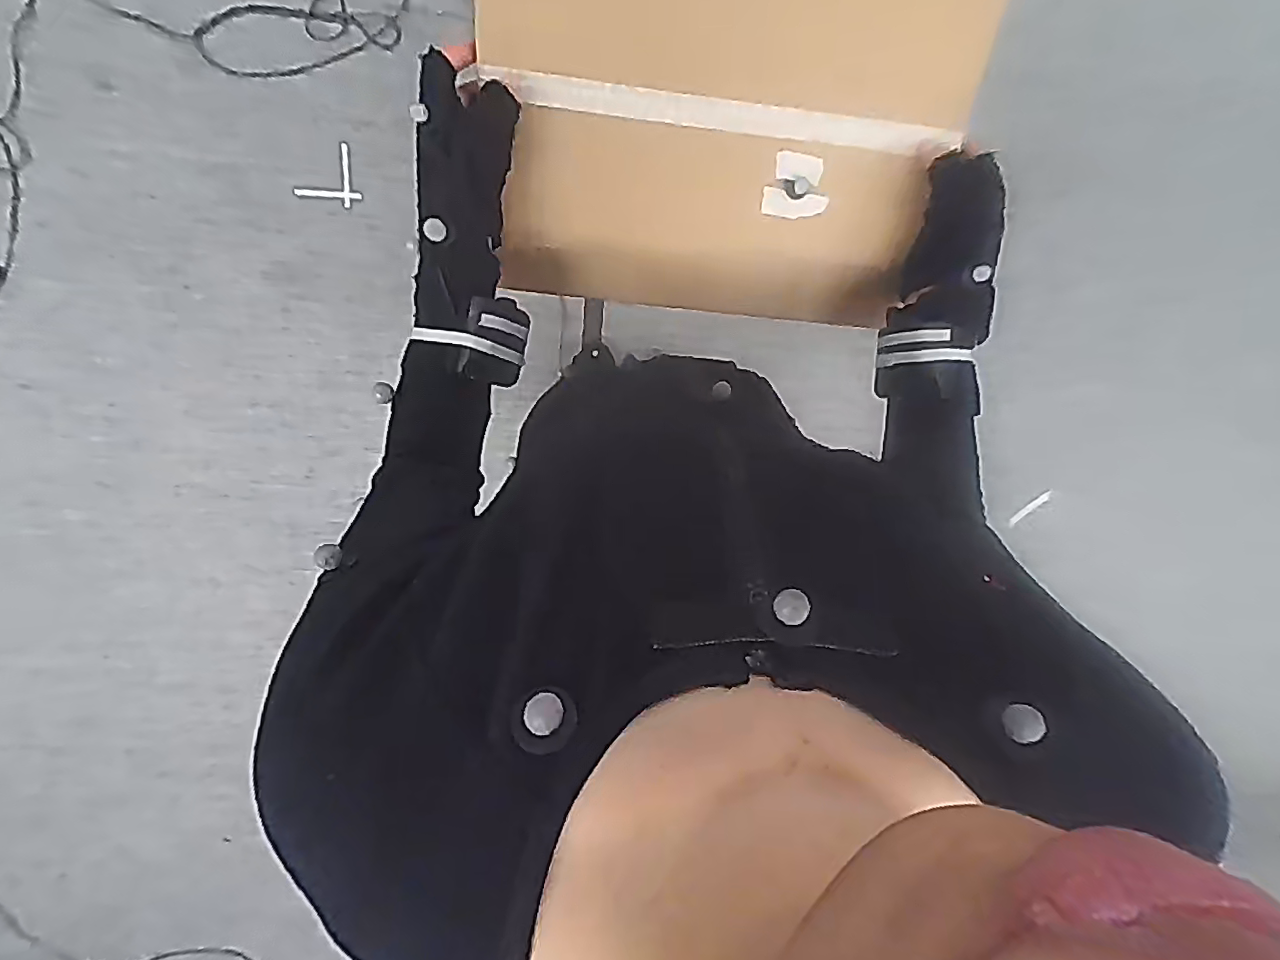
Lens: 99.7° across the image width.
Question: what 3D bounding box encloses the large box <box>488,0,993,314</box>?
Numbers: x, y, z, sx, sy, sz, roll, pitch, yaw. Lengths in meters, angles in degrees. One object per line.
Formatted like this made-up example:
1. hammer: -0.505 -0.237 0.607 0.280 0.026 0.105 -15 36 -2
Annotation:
1. large box: 0.064 -0.378 0.585 0.408 0.320 0.320 3 118 -6
